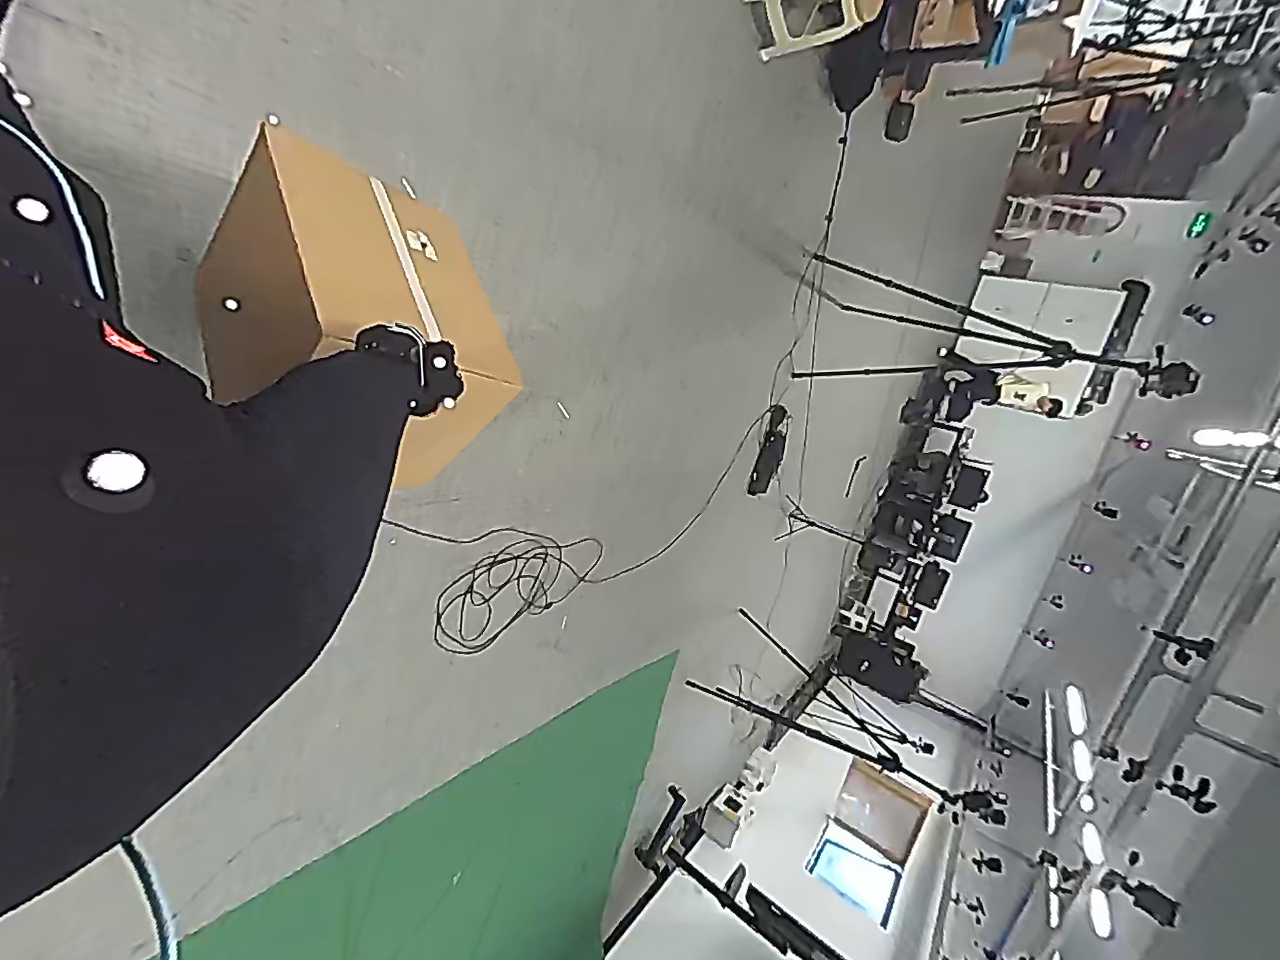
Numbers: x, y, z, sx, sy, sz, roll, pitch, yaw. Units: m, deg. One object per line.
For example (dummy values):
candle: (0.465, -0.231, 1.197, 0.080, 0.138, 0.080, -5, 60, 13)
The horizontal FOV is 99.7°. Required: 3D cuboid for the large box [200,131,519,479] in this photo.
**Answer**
large box: (-0.472, -0.247, 0.896, 0.320, 0.408, 0.320, -38, 157, 27)
